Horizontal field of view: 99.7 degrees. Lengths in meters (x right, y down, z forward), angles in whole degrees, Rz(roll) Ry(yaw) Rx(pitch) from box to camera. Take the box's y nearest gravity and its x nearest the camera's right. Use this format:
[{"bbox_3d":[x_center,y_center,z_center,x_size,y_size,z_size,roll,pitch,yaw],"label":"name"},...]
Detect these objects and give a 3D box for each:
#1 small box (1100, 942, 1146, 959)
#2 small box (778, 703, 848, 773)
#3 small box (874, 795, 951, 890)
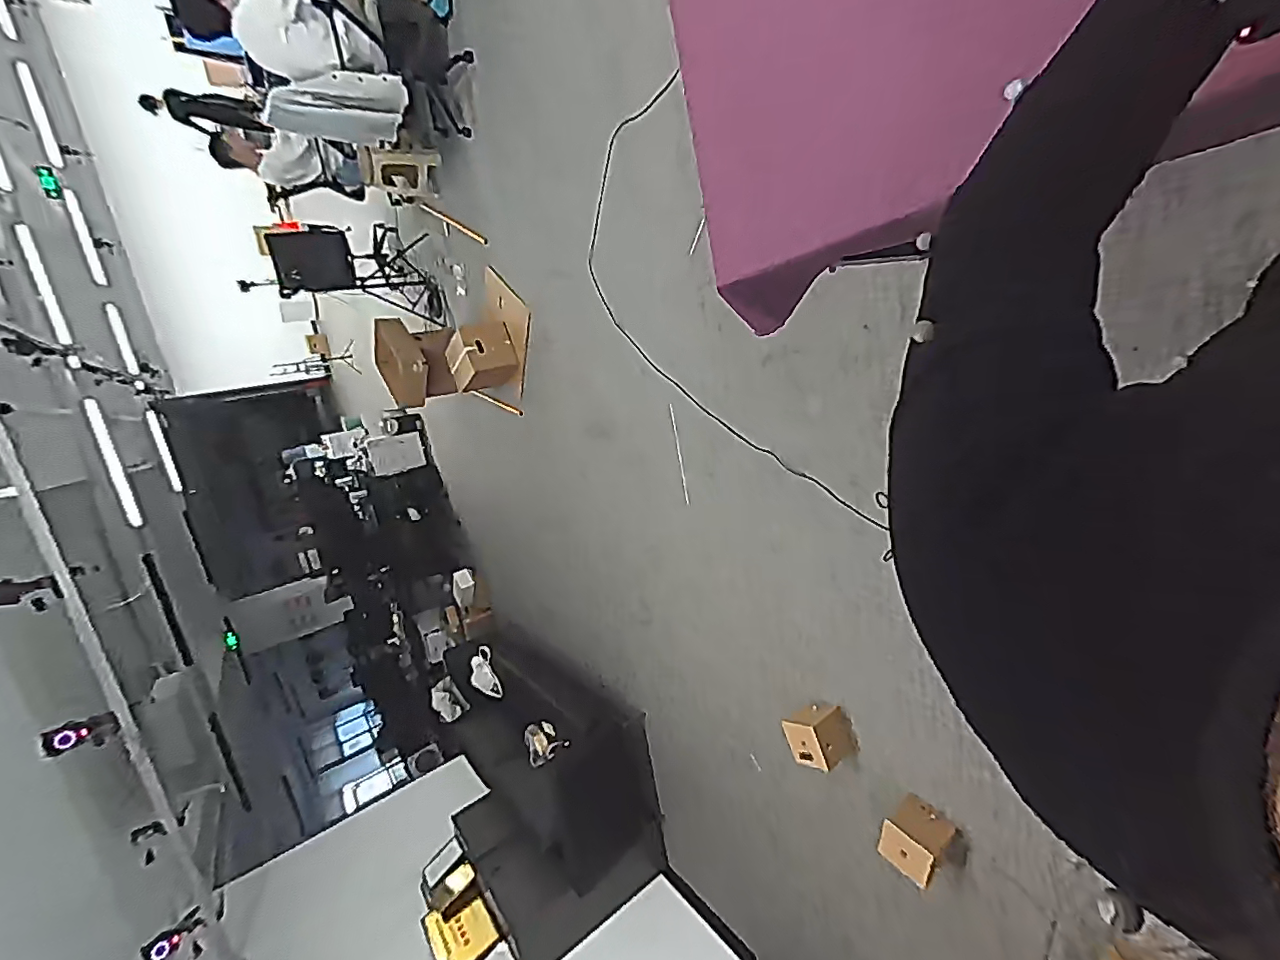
[{"bbox_3d":[1.294,1.360,1.388,0.179,0.176,0.168,-3,102,55],"label":"small box"},{"bbox_3d":[0.681,1.001,2.113,0.168,0.176,0.179,-24,84,56],"label":"small box"},{"bbox_3d":[0.935,1.235,1.852,0.168,0.176,0.179,26,126,47],"label":"small box"}]
